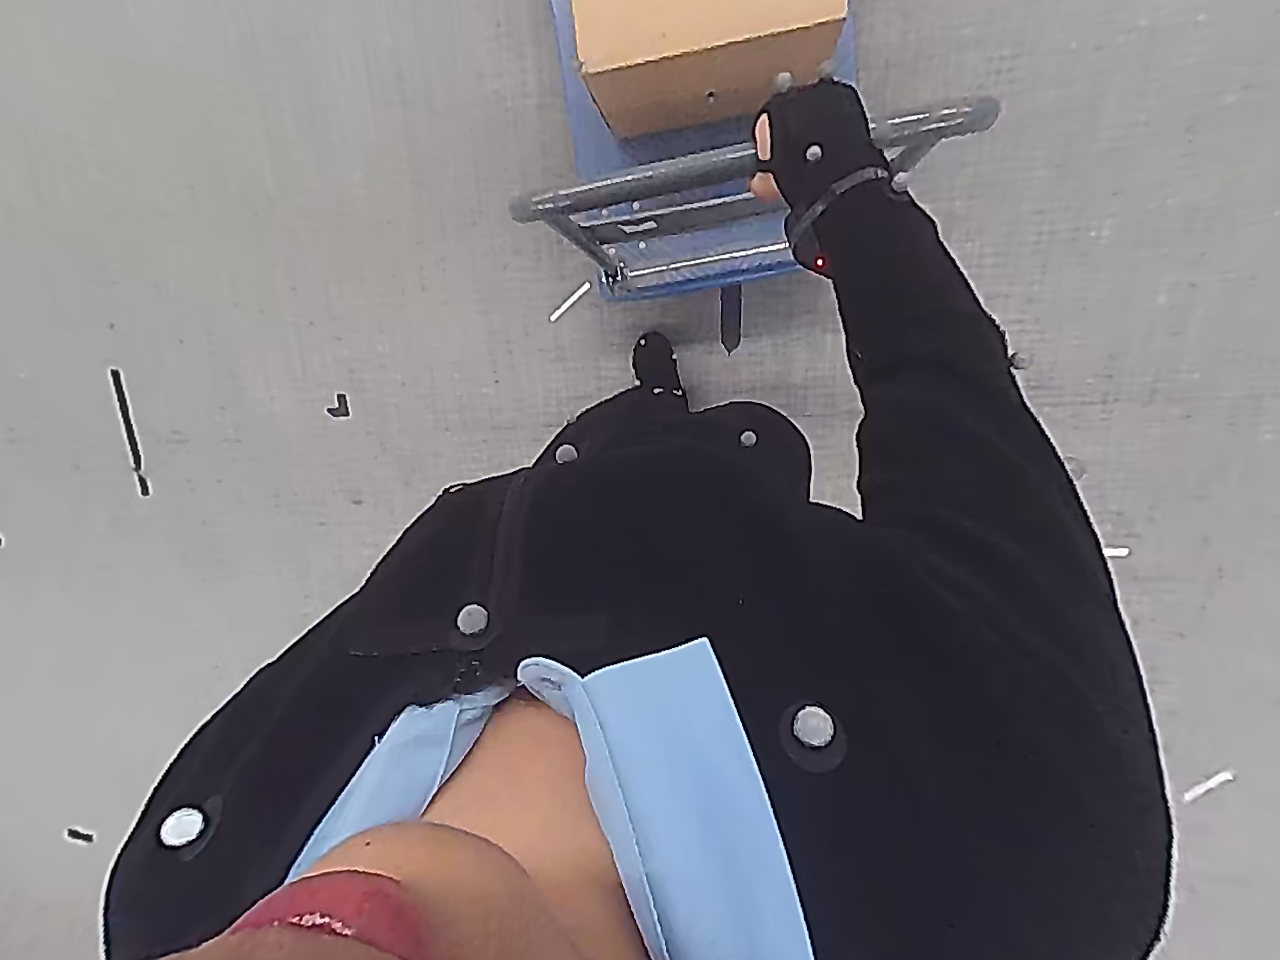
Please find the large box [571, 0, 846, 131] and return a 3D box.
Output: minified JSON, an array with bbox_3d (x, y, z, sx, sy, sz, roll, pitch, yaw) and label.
[{"bbox_3d":[0.104,-0.844,0.909,0.408,0.320,0.320,-5,104,11],"label":"large box"}]
